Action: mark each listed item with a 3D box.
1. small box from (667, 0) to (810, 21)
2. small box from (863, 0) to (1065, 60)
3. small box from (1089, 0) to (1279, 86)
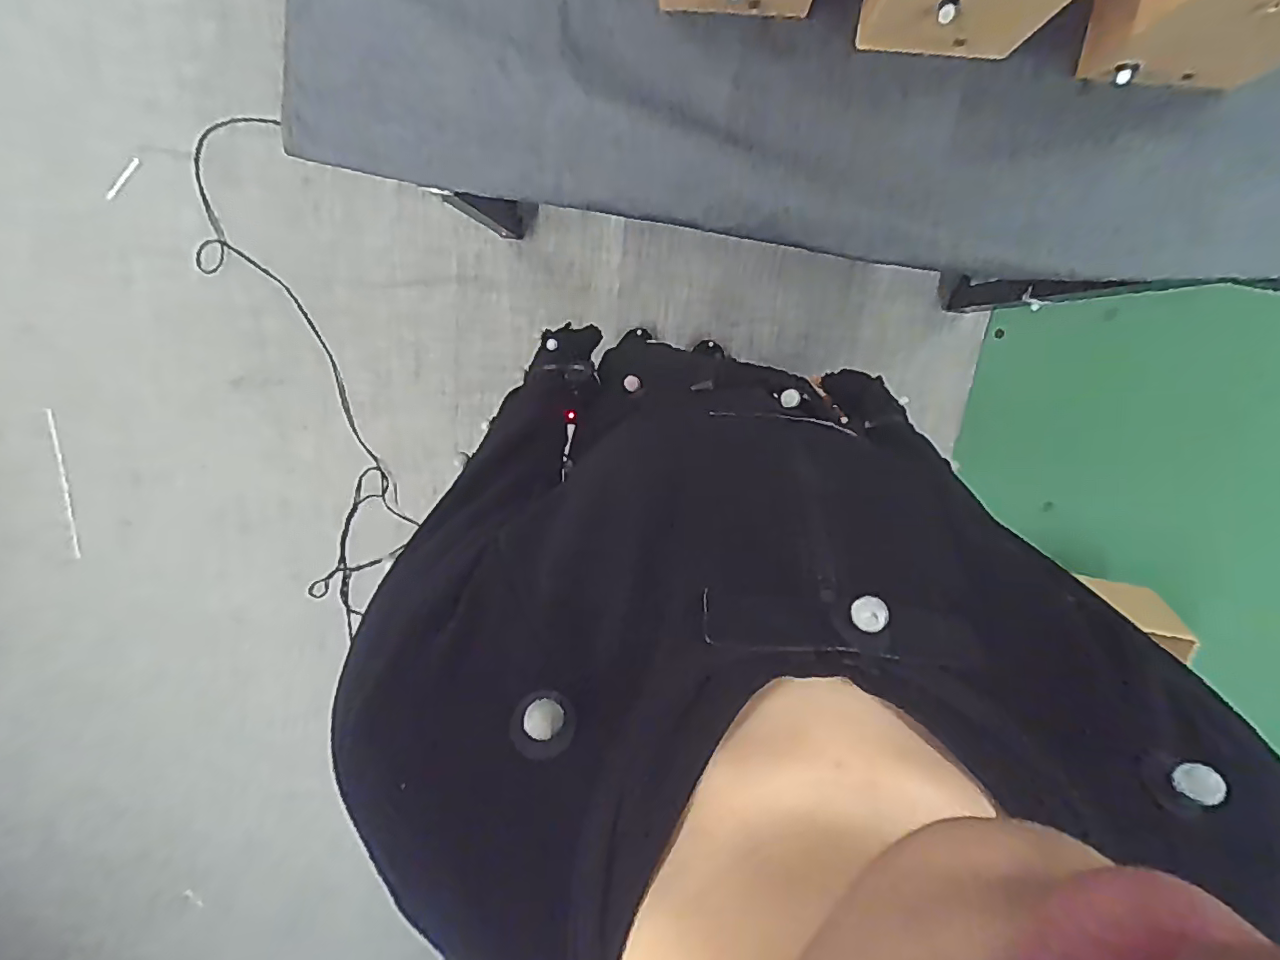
[{"bbox_3d":[0.104,-0.577,0.497,0.168,0.176,0.179,5,104,2],"label":"small box"},{"bbox_3d":[0.322,-0.527,0.496,0.168,0.176,0.179,6,103,3],"label":"small box"},{"bbox_3d":[0.560,-0.491,0.486,0.168,0.176,0.179,6,103,2],"label":"small box"}]
